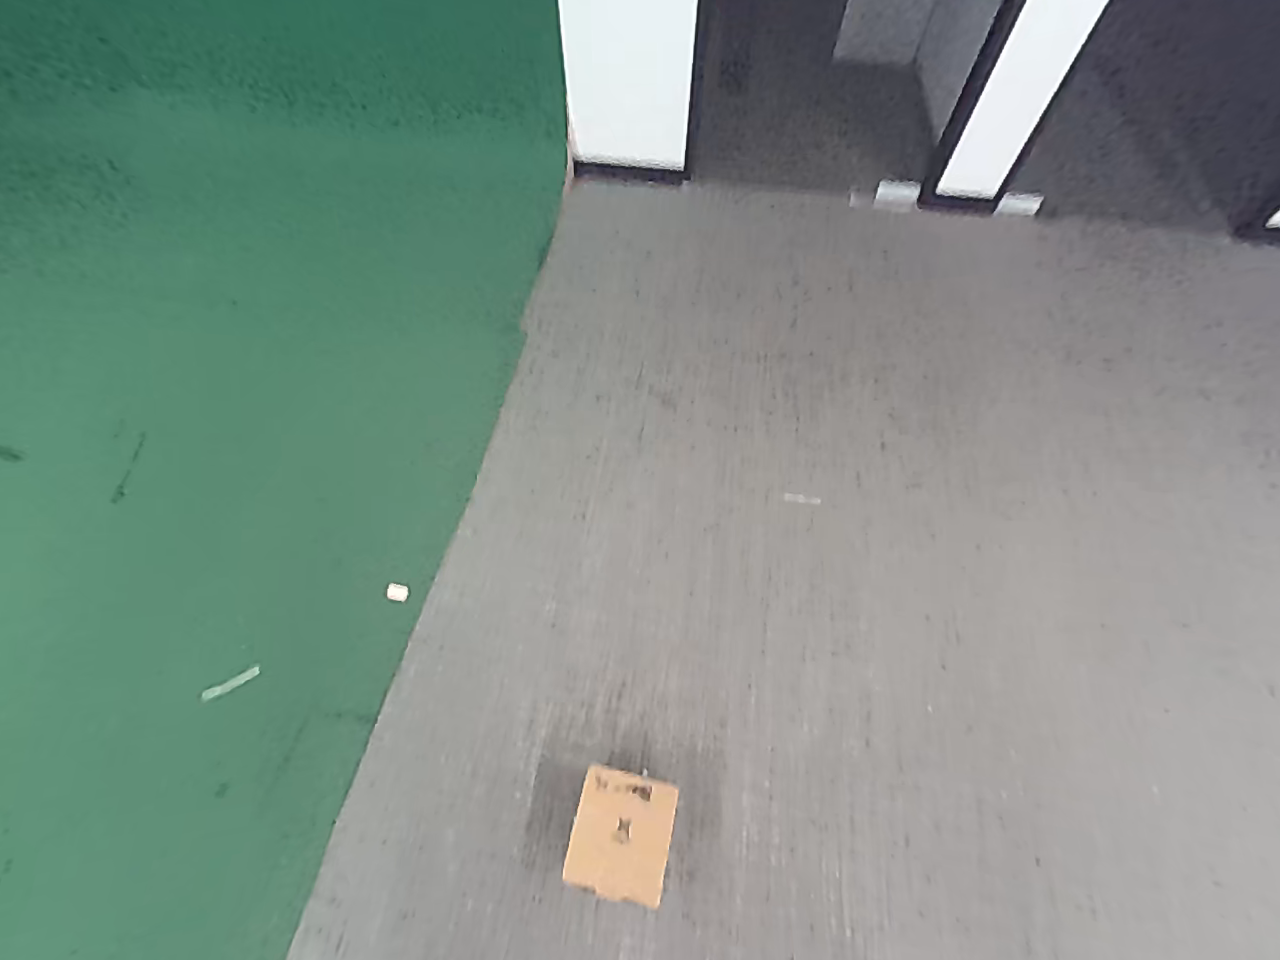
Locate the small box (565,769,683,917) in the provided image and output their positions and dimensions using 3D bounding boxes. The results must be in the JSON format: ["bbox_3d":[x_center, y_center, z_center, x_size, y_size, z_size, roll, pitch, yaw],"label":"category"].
[{"bbox_3d":[-0.022,0.638,0.965,0.168,0.176,0.179,11,59,7],"label":"small box"}]
